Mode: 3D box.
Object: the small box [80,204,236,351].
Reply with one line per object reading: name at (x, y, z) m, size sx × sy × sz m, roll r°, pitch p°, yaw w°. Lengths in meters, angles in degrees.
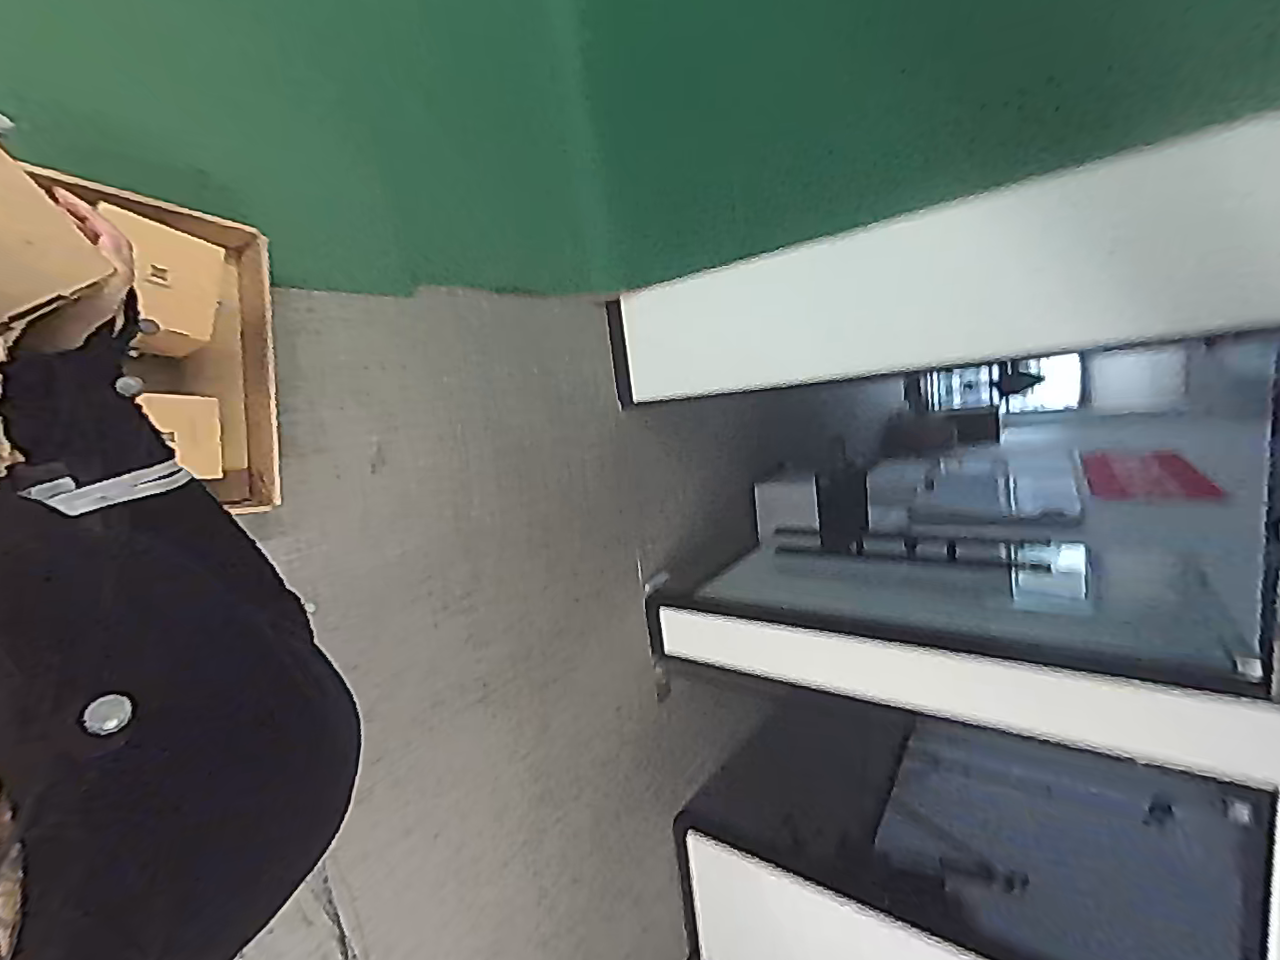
small box at (-0.851, -0.342, 0.954) m, size 0.168 × 0.176 × 0.179 m, roll 12°, pitch 82°, yaw -51°
